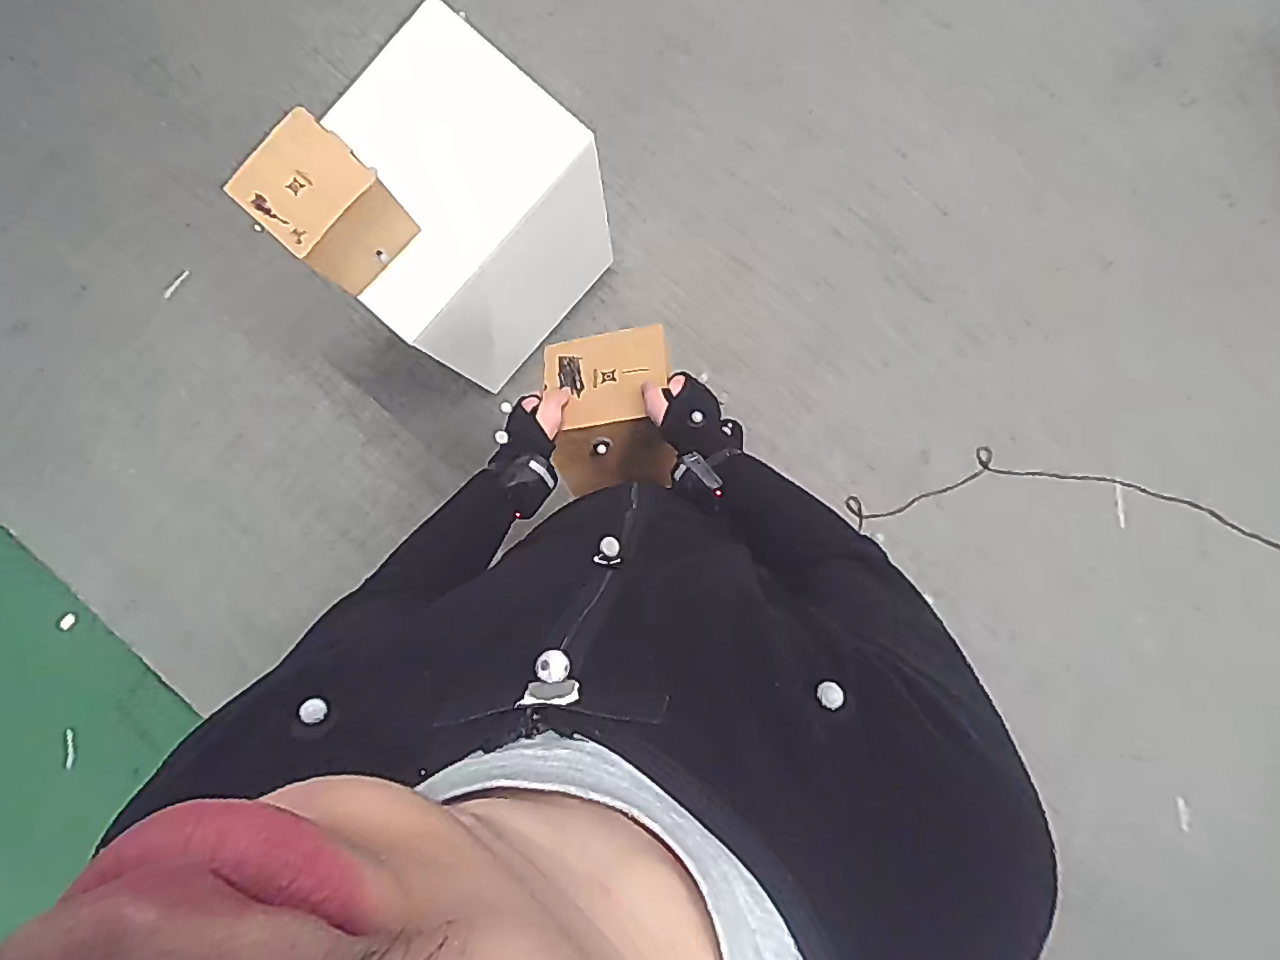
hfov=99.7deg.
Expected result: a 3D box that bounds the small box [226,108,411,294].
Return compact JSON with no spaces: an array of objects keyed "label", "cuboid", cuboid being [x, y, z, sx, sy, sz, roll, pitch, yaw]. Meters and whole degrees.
[{"label":"small box","cuboid":[-0.511,-0.448,0.896,0.168,0.176,0.179,43,89,1]}]

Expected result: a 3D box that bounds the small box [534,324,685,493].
[{"label":"small box","cuboid":[-0.037,-0.095,0.787,0.179,0.176,0.168,-8,57,8]}]
